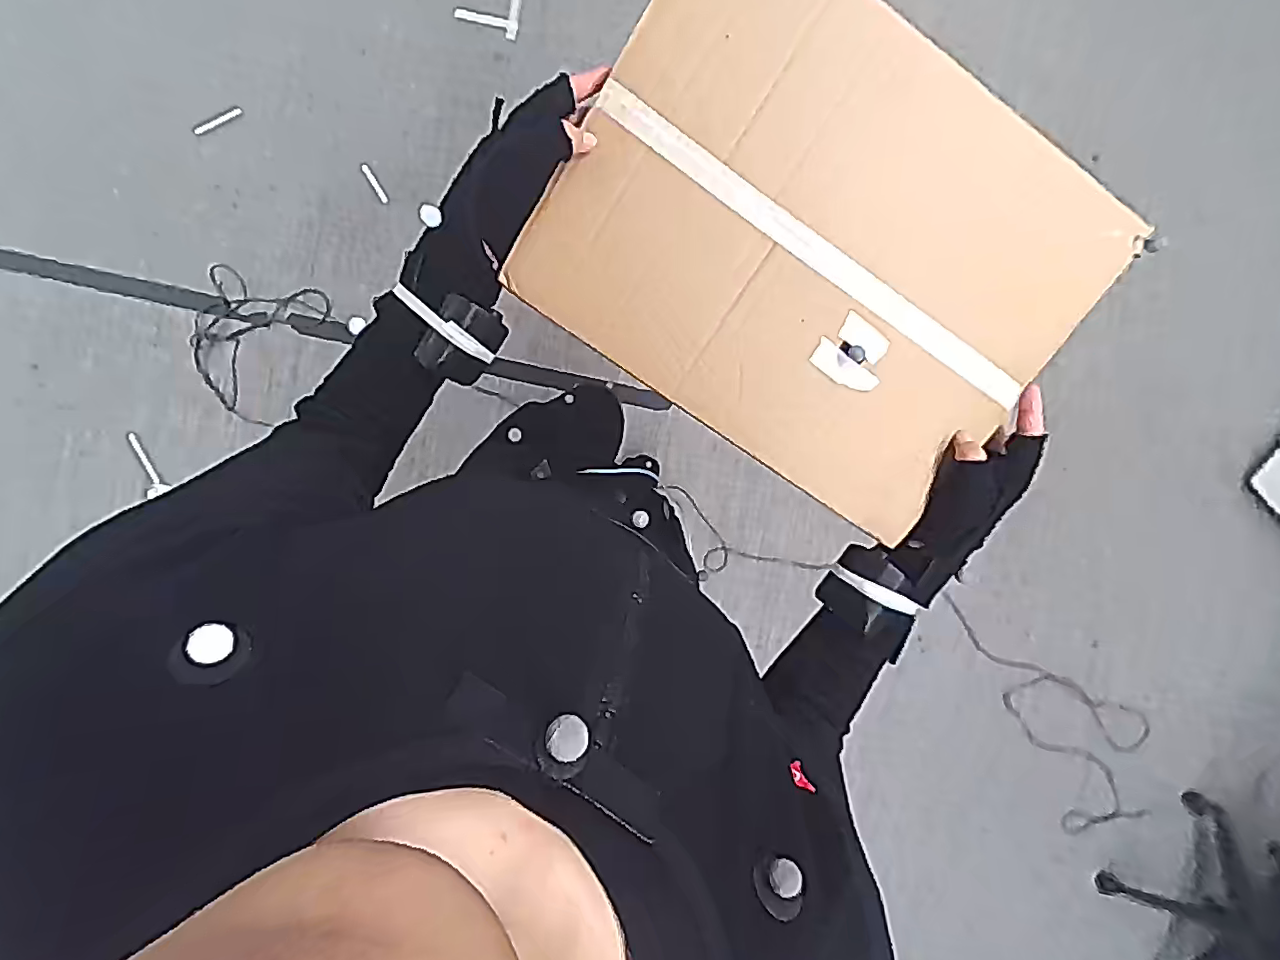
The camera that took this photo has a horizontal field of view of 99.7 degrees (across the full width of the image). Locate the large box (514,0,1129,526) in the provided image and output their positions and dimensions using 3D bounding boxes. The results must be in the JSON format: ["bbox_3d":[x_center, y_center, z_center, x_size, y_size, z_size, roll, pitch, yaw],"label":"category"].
[{"bbox_3d":[0.141,-0.217,0.577,0.408,0.320,0.320,33,103,-8],"label":"large box"}]
